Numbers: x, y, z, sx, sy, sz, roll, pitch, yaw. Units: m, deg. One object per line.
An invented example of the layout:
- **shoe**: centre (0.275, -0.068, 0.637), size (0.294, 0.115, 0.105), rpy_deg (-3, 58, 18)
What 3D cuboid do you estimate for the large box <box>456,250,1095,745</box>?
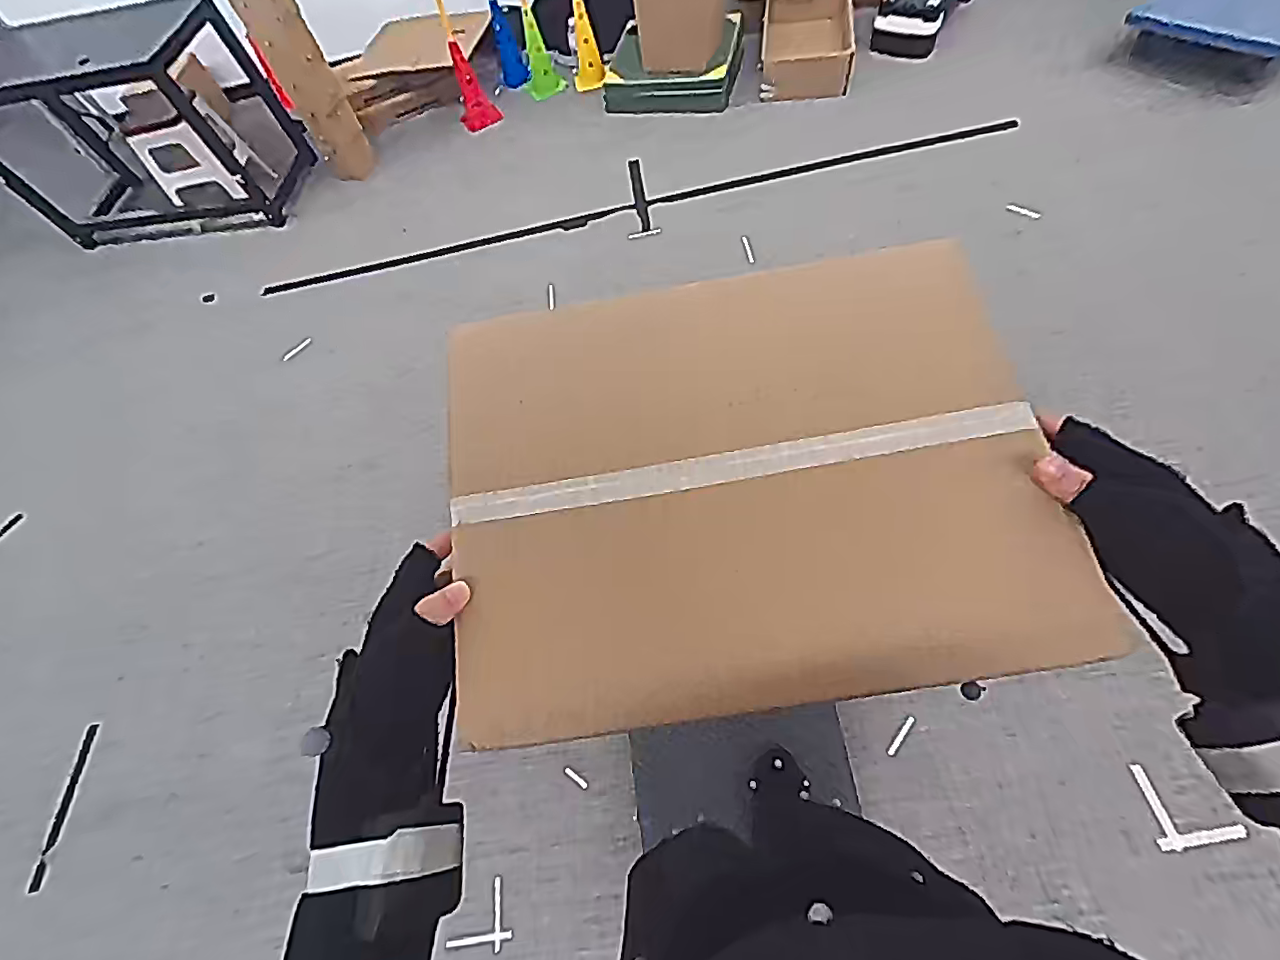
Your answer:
- **large box**: centre (0.081, 0.038, 0.527), size (0.408, 0.320, 0.320), rpy_deg (-9, 71, 2)
